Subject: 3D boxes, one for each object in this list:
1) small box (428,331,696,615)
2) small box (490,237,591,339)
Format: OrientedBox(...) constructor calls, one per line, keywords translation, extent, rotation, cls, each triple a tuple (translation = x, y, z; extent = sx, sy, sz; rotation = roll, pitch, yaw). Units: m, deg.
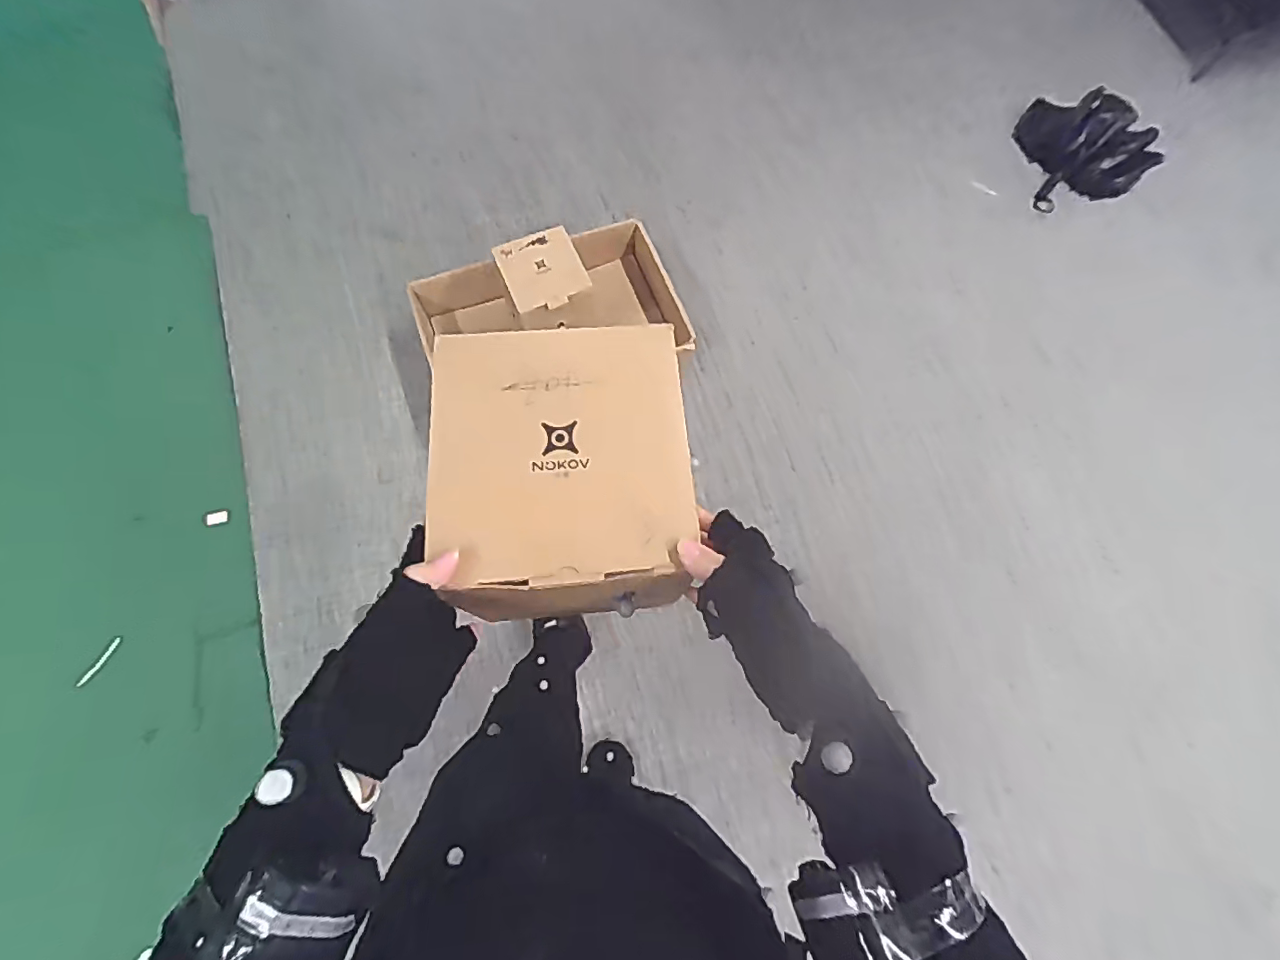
OrientedBox(translation=(-0.057, 0.007, 0.428), extent=(0.168, 0.176, 0.179), rotation=(-4, 68, -6), cls="small box")
OrientedBox(translation=(-0.214, -0.397, 1.208), extent=(0.168, 0.176, 0.179), rotation=(-22, 75, -10), cls="small box")
